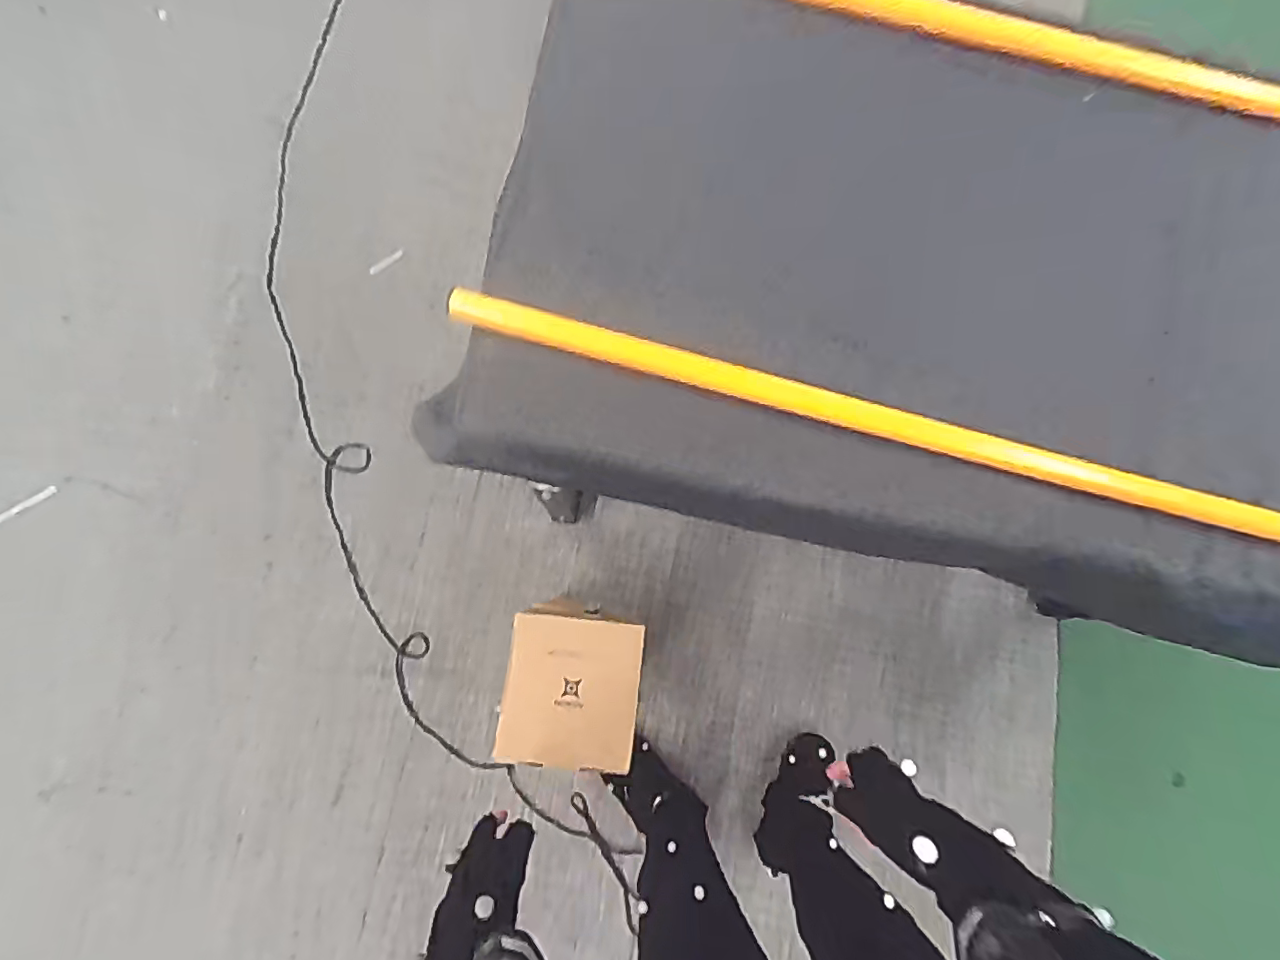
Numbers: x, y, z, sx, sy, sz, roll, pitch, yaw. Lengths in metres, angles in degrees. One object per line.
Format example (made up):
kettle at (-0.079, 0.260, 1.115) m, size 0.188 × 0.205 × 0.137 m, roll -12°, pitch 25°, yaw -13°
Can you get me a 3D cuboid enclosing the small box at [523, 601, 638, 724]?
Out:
small box at (-0.113, 0.343, 1.056) m, size 0.168 × 0.176 × 0.179 m, roll 19°, pitch 79°, yaw 0°
